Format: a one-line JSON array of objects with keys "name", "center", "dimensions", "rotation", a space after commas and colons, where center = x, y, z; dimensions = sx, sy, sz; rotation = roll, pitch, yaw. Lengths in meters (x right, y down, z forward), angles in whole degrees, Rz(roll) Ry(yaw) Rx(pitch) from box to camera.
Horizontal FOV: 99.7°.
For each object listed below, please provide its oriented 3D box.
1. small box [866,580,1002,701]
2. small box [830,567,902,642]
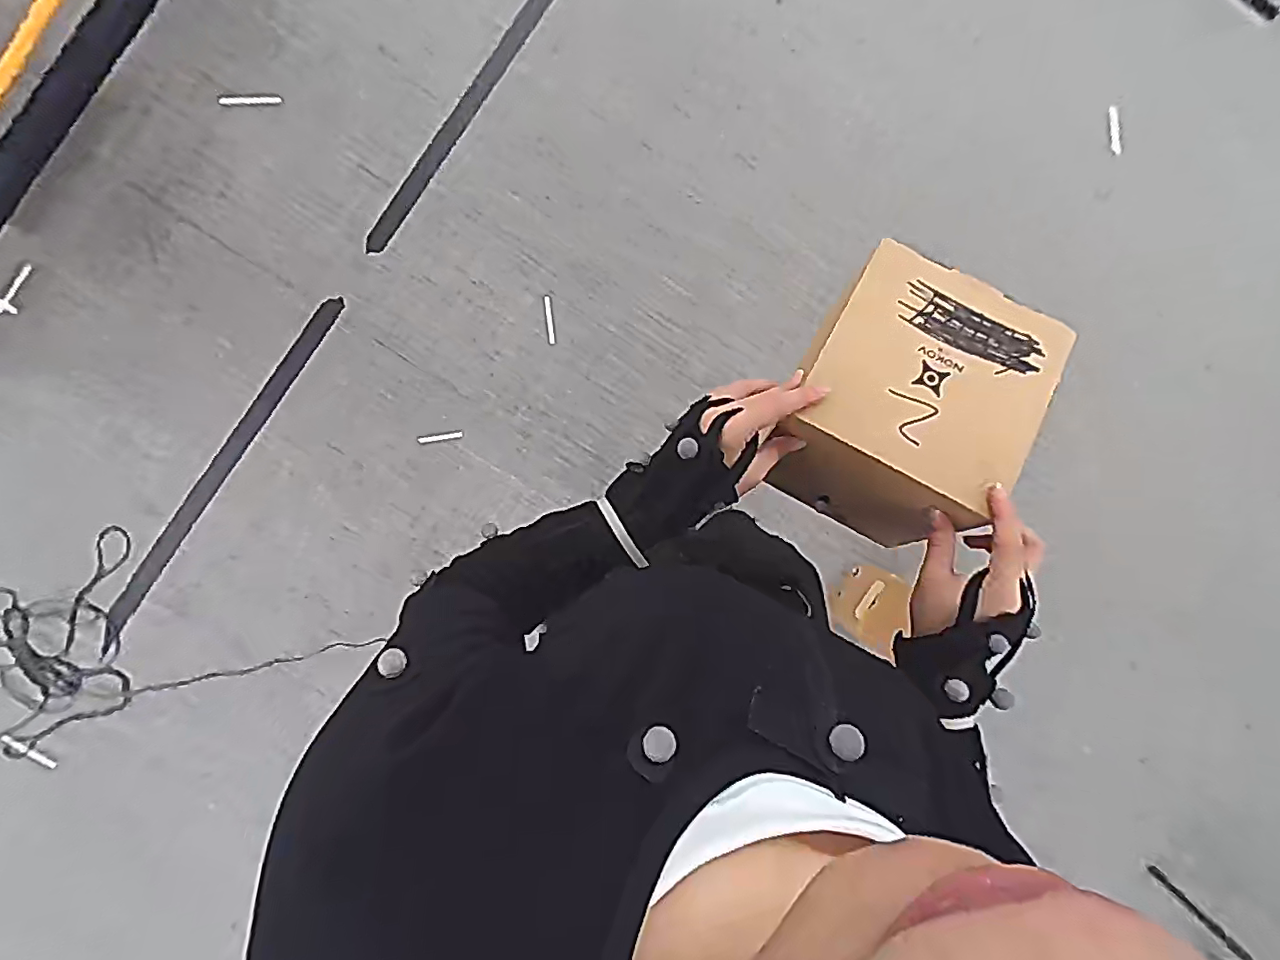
[{"name": "small box", "center": [0.633, 0.340, 1.188], "dimensions": [0.168, 0.176, 0.179], "rotation": [28, 90, -5]}, {"name": "small box", "center": [0.611, 0.334, 1.349], "dimensions": [0.179, 0.176, 0.168], "rotation": [35, 89, -5]}]
